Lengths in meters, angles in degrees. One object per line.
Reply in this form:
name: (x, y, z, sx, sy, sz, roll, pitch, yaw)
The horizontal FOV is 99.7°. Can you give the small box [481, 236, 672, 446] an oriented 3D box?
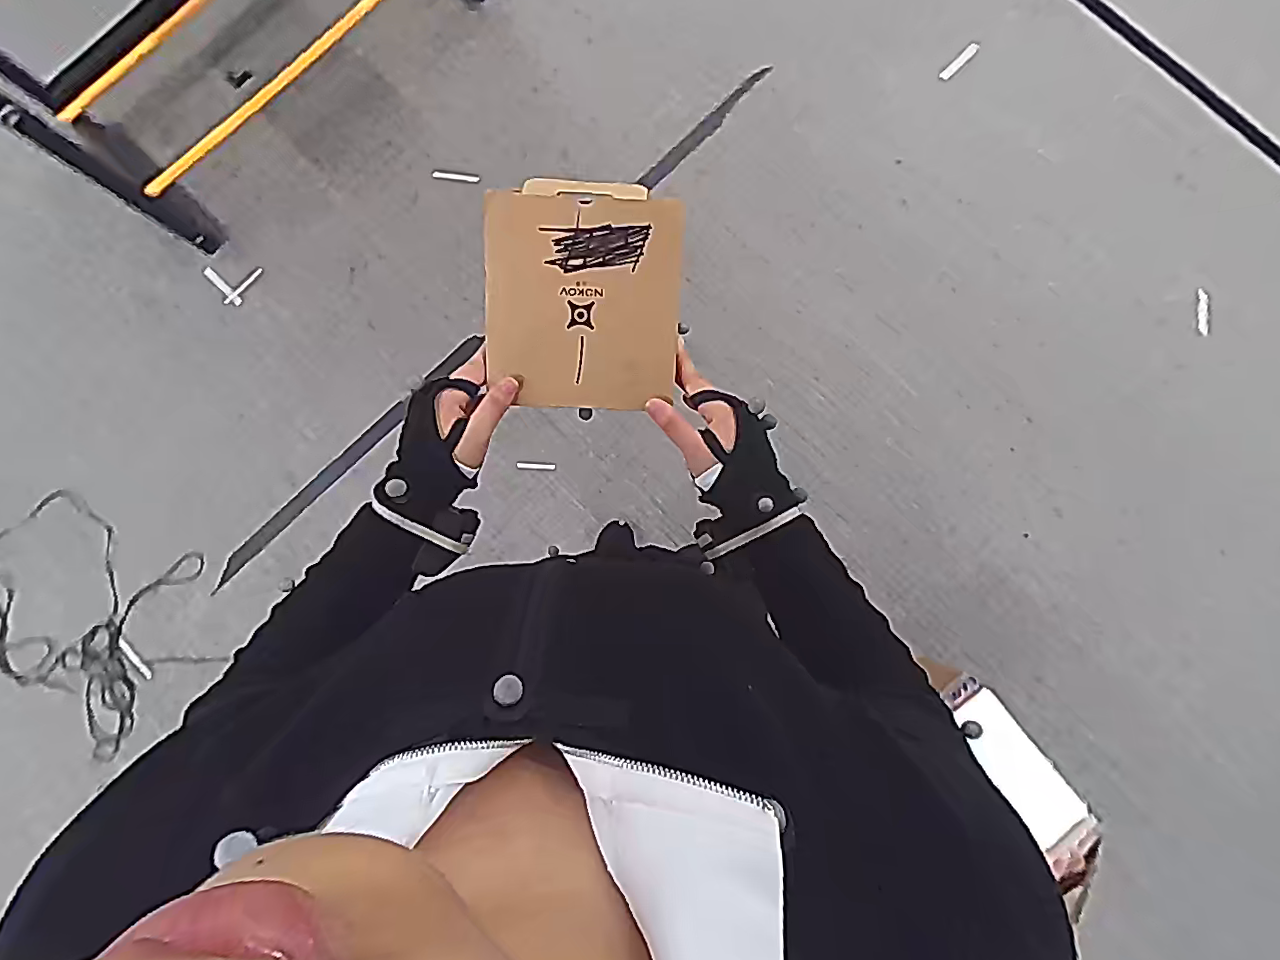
small box: (-0.059, -0.132, 0.553, 0.168, 0.176, 0.179, 2, 100, -1)
